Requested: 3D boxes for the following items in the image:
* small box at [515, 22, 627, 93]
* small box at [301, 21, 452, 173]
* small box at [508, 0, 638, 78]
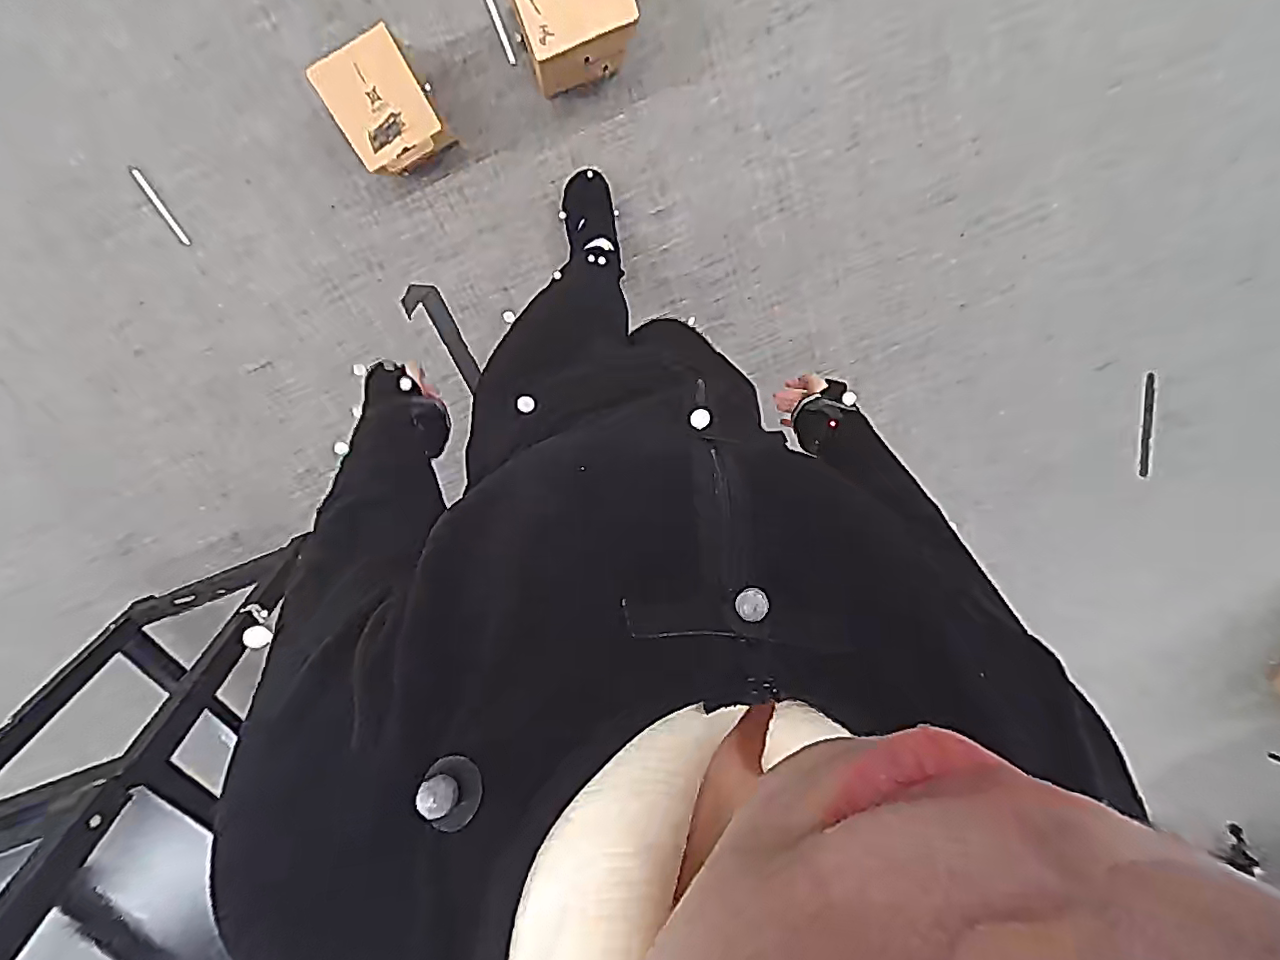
[{"bbox_3d":[-0.138,-0.855,1.009,0.179,0.176,0.168,-19,118,3],"label":"small box"},{"bbox_3d":[-0.486,-0.714,1.031,0.168,0.176,0.179,-27,117,6],"label":"small box"},{"bbox_3d":[-0.120,-0.782,0.864,0.179,0.176,0.168,-21,117,2],"label":"small box"}]
